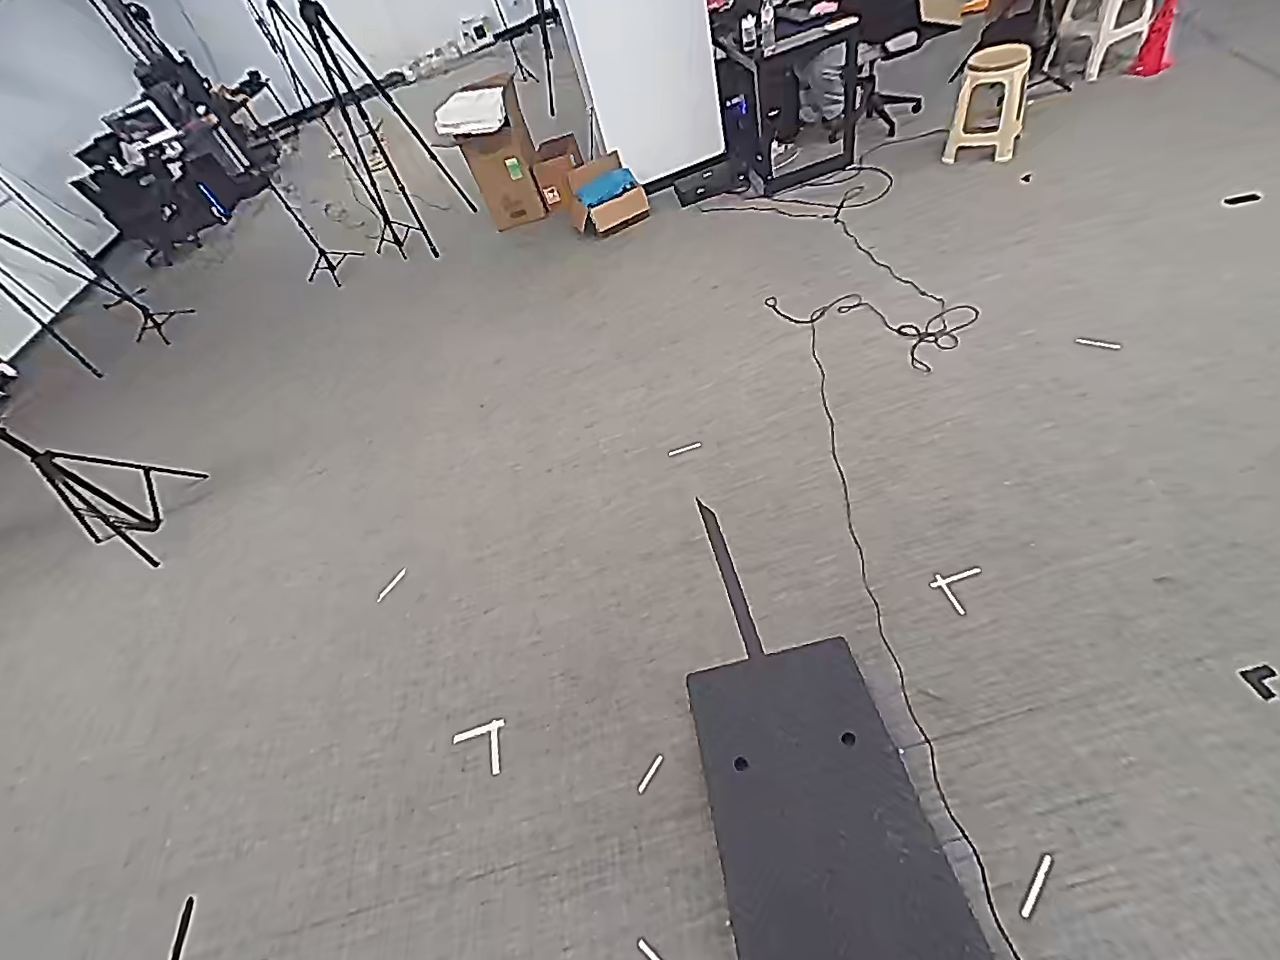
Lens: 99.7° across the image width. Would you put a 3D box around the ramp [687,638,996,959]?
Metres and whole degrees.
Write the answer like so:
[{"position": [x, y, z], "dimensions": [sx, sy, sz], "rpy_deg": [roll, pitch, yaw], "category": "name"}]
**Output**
[{"position": [0.422, 0.842, 1.243], "dimensions": [0.509, 0.206, 0.991], "rpy_deg": [-19, 47, 5], "category": "ramp"}]
